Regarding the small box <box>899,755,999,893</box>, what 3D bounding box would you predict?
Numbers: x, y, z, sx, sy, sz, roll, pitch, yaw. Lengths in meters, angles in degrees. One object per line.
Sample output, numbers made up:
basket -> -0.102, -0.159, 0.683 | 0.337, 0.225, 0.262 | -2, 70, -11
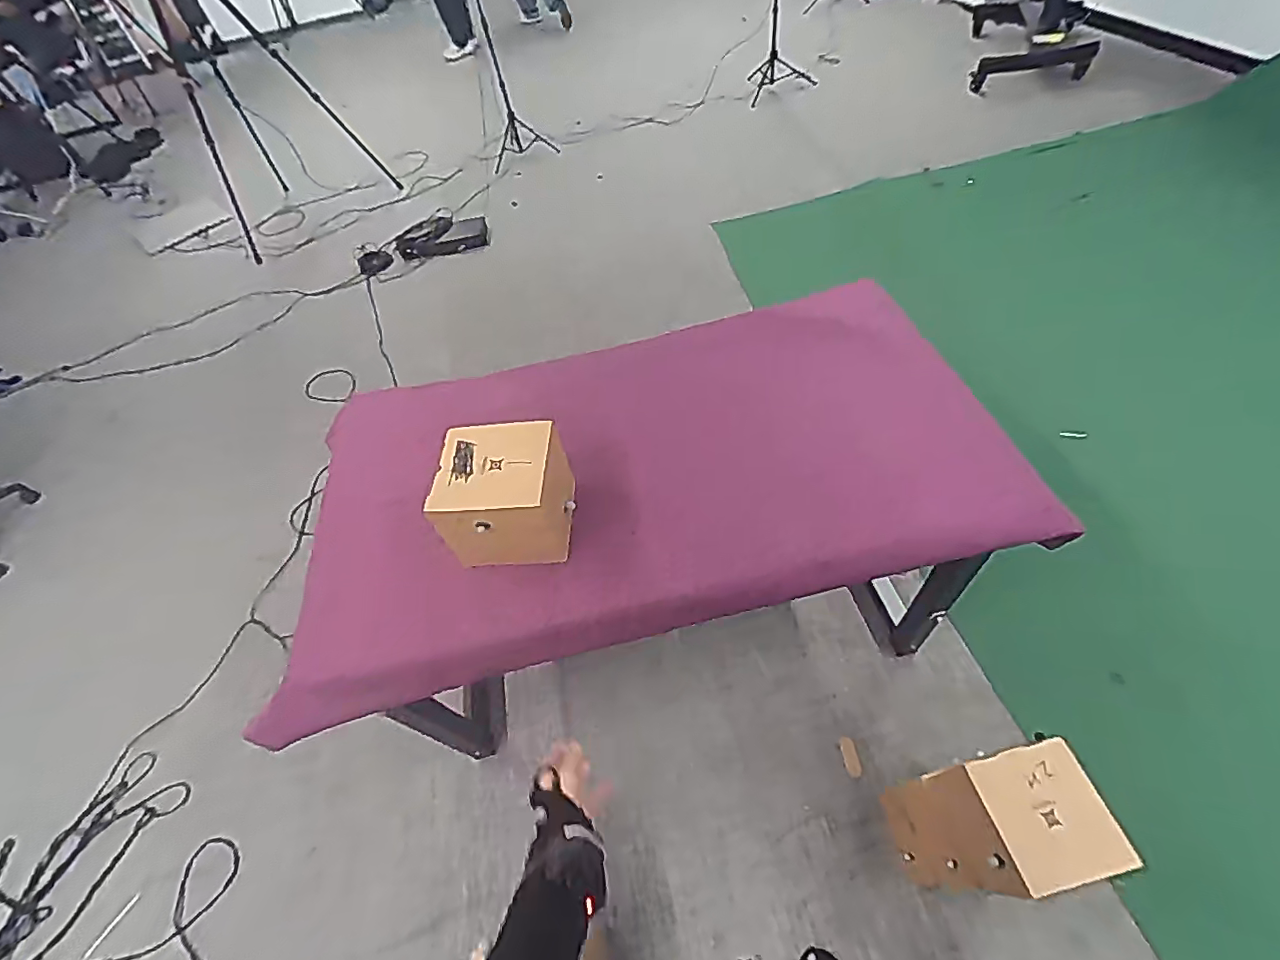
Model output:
small box -> 0.610, 0.635, 0.997 | 0.168, 0.176, 0.179 | -15, 54, -2

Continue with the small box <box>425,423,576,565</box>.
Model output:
small box -> -0.213, 0.028, 0.877 | 0.179, 0.176, 0.168 | -3, 53, 6

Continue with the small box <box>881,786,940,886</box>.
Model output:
small box -> 0.625, 0.731, 1.127 | 0.179, 0.176, 0.168 | -13, 53, -1

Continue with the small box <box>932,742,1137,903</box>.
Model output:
small box -> 0.605, 0.542, 0.860 | 0.168, 0.176, 0.179 | -14, 53, -2

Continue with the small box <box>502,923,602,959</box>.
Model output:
small box -> -0.165, 0.996, 1.056 | 0.168, 0.176, 0.179 | -11, 53, 1
